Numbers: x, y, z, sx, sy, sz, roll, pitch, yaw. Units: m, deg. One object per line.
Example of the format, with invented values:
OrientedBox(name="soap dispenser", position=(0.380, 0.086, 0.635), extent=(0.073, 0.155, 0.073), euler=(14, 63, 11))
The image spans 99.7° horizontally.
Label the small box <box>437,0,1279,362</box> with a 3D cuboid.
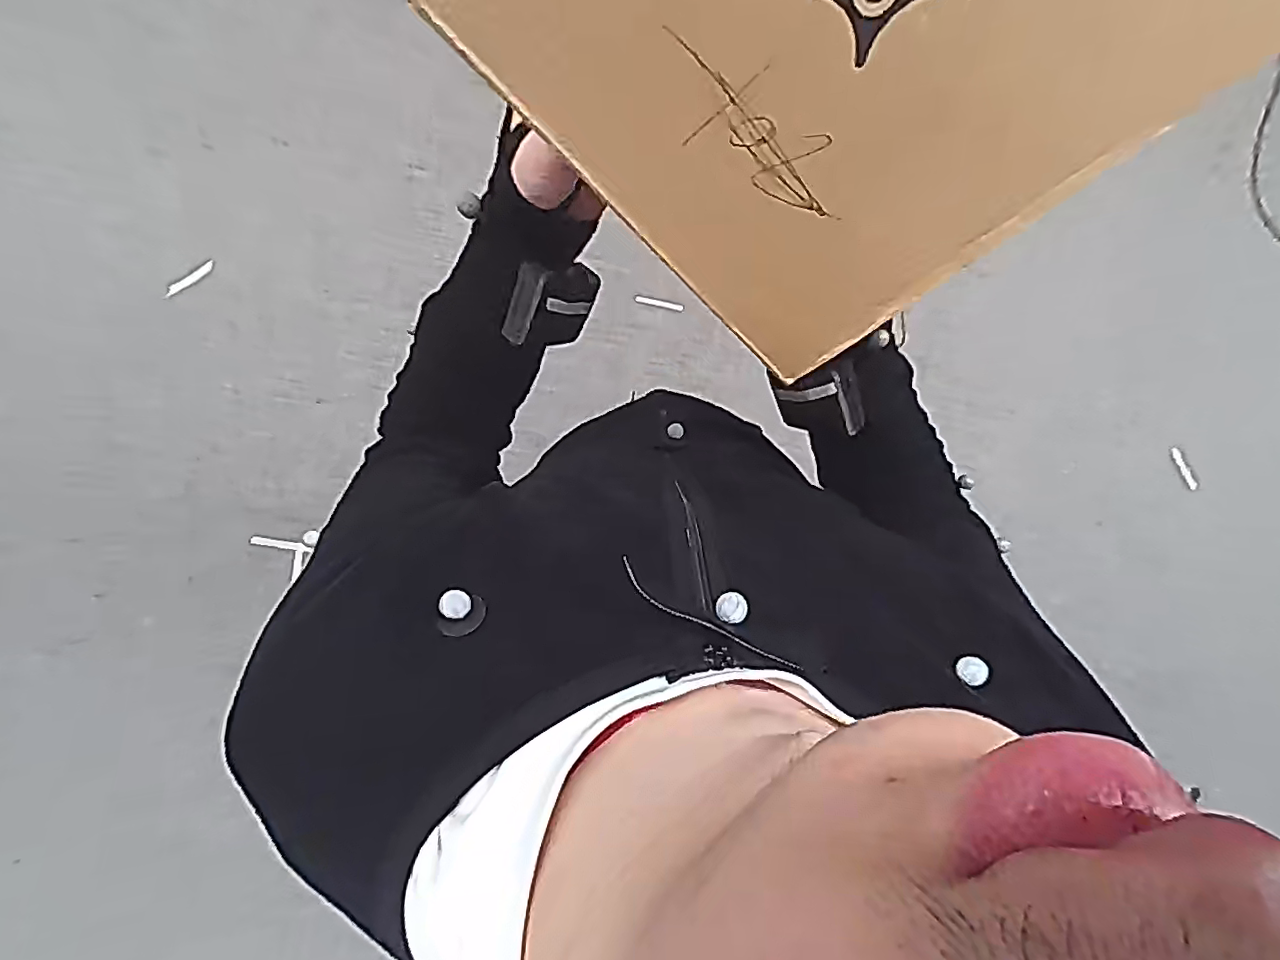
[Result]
OrientedBox(name="small box", position=(0.063, -0.186, 0.194), extent=(0.168, 0.176, 0.179), euler=(36, 127, -26))
